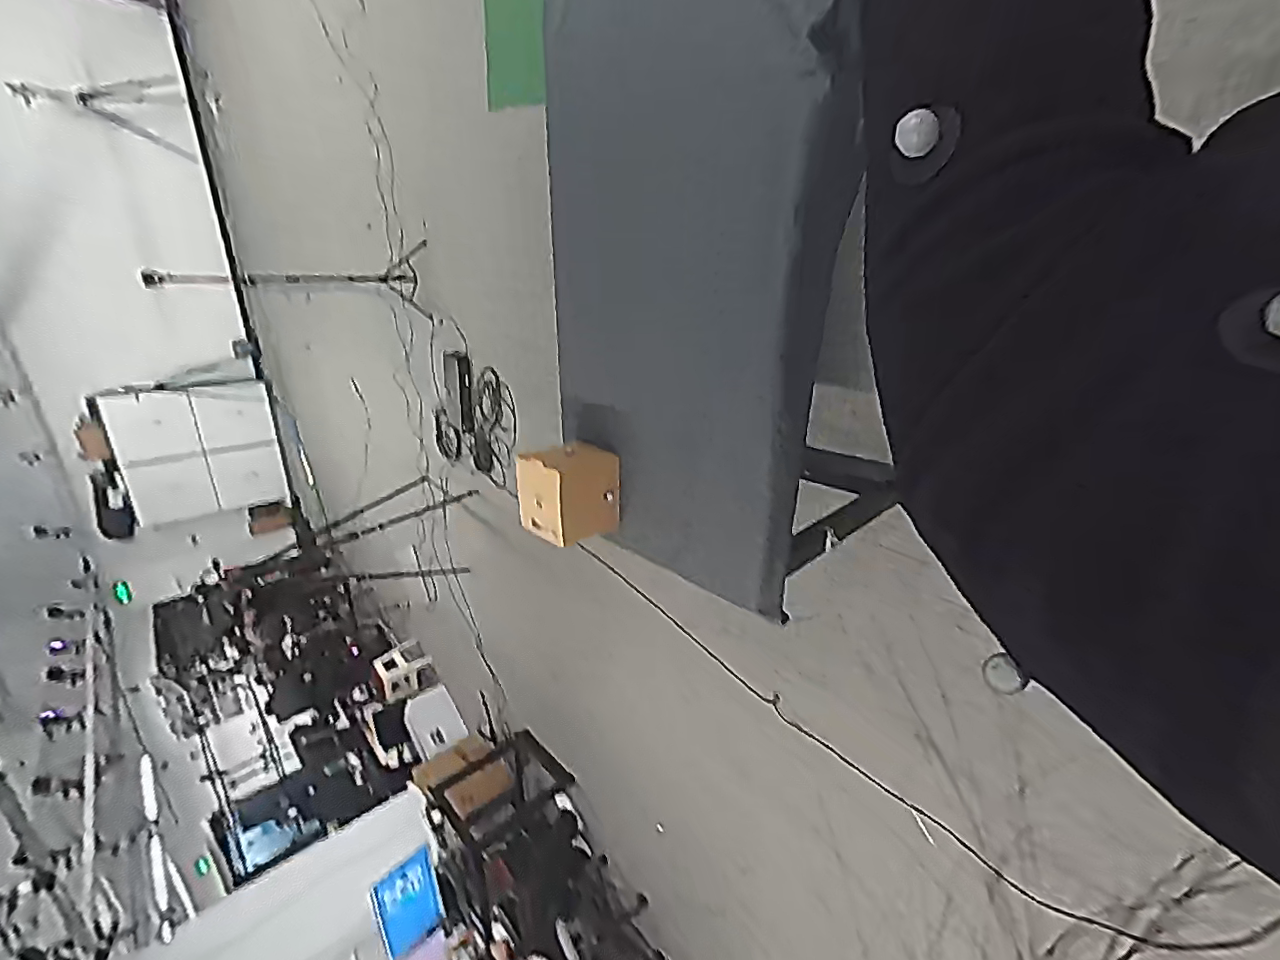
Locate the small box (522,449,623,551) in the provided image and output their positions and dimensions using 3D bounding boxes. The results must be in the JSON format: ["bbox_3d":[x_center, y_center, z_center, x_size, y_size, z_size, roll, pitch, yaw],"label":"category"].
[{"bbox_3d":[-0.152,0.036,1.240,0.168,0.176,0.179,19,117,43],"label":"small box"}]
